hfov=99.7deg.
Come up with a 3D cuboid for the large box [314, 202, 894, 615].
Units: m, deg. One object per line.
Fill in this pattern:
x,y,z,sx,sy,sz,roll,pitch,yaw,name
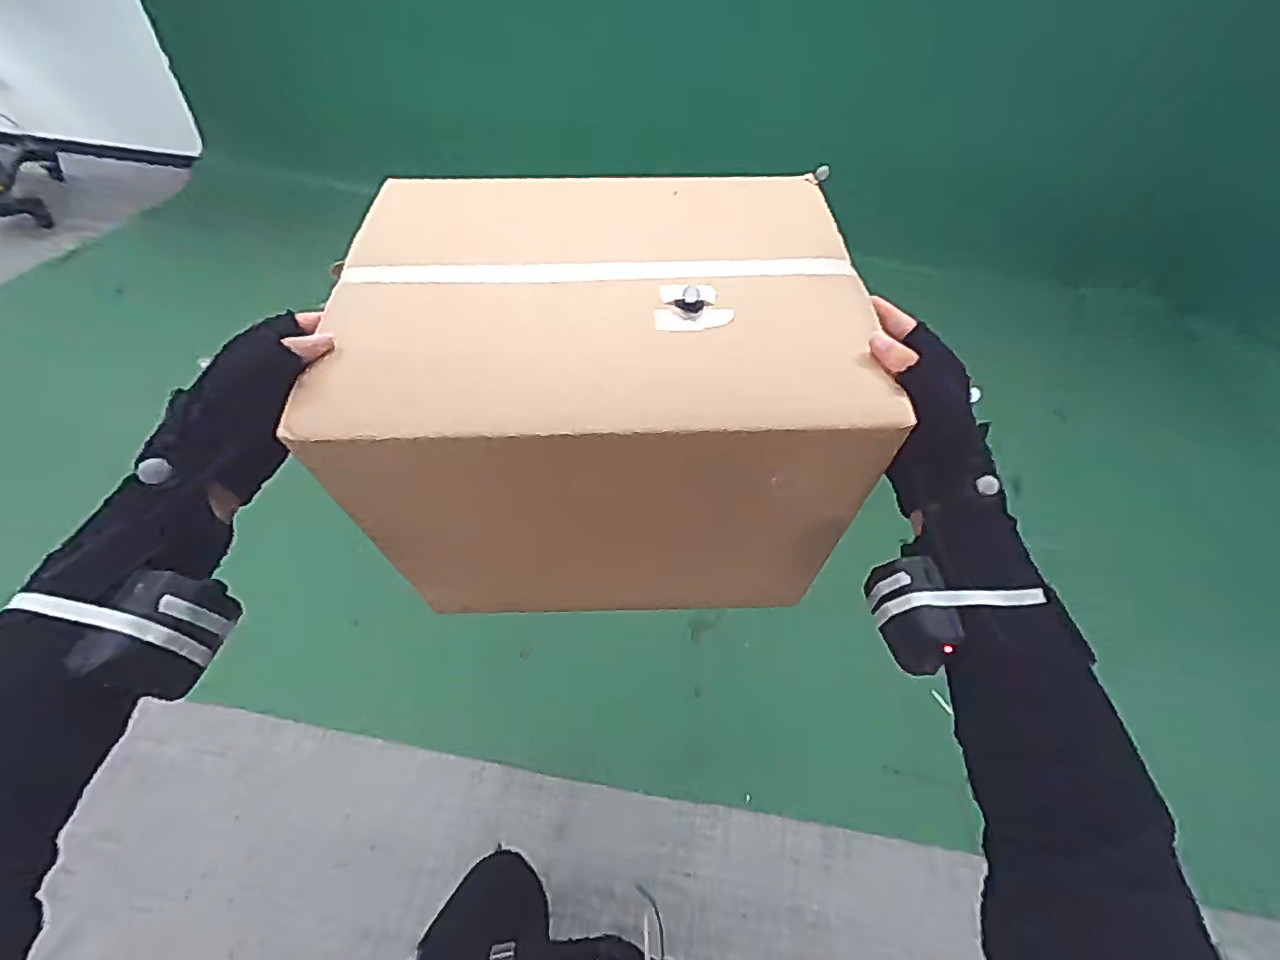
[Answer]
-0.032,-0.064,0.570,0.408,0.320,0.320,-1,56,-2,large box
